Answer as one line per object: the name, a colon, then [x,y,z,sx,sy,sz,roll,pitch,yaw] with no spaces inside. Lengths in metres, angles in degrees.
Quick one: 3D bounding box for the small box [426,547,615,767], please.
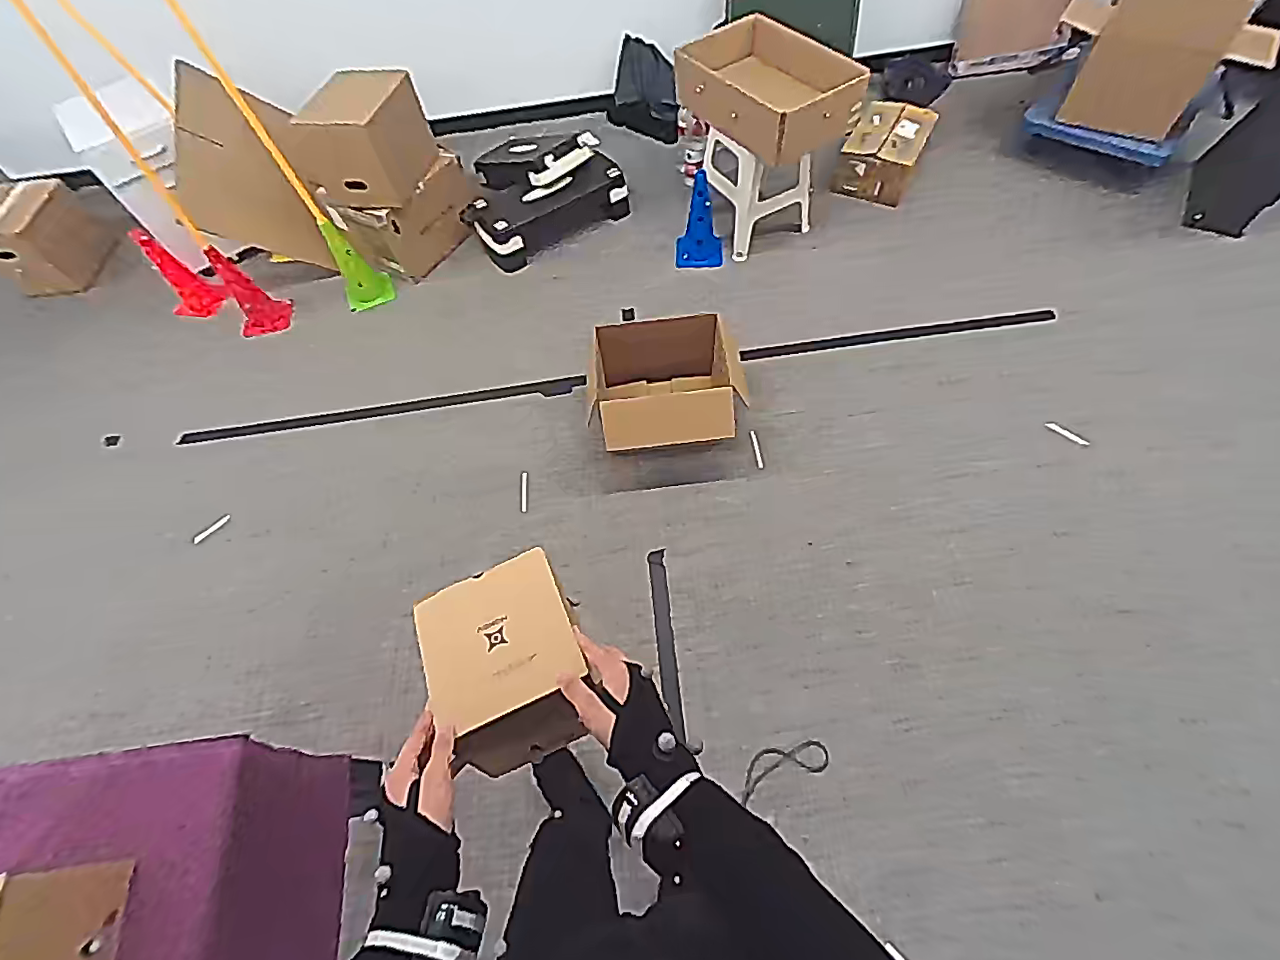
small box: [-0.143,0.221,0.671,0.168,0.176,0.179,-22,50,-8]
